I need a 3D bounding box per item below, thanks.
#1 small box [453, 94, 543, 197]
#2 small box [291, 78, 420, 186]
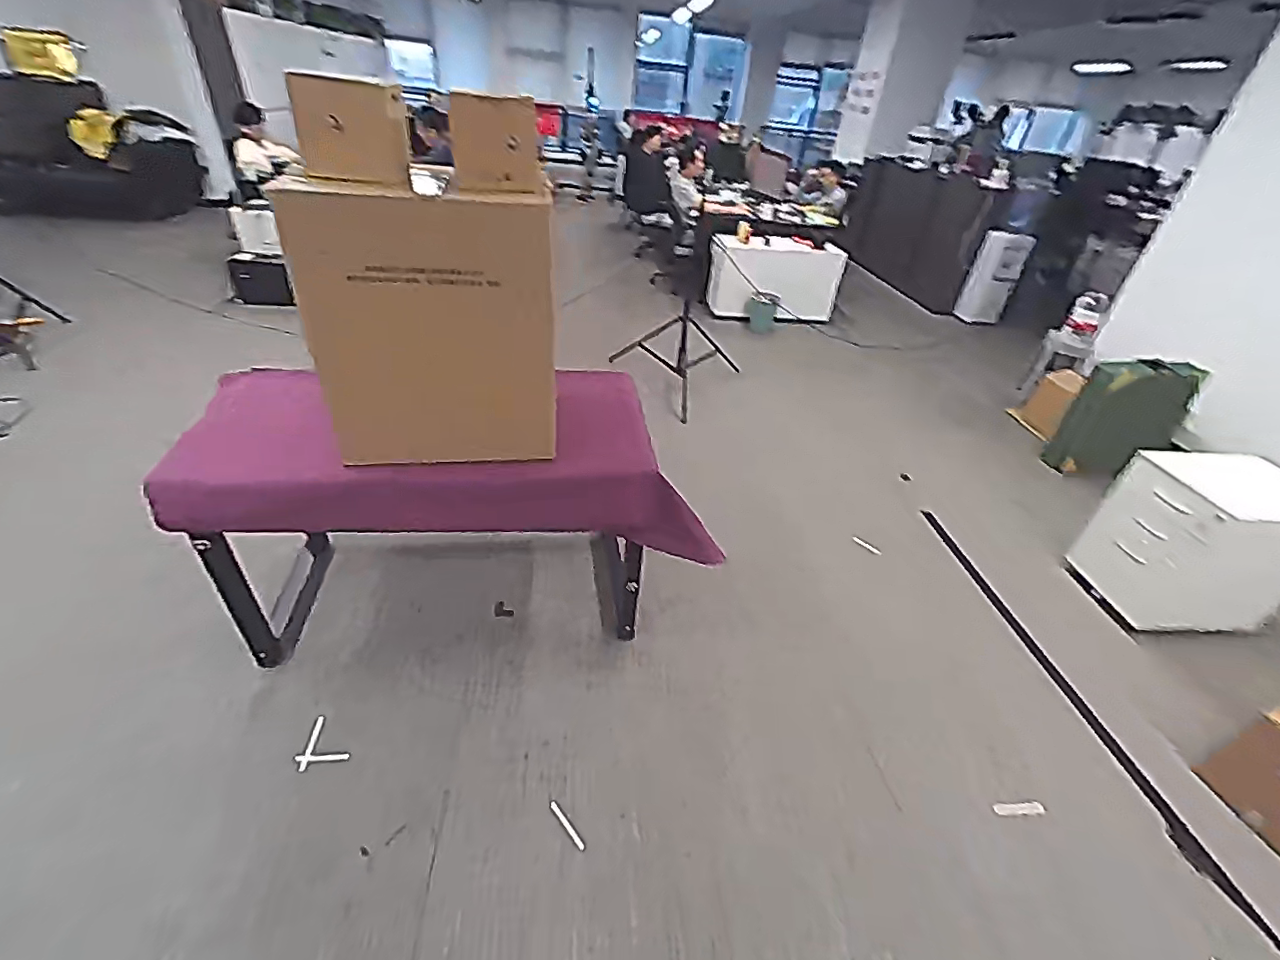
[{"bbox_3d":[-0.295,-0.710,1.149,0.168,0.176,0.179,-2,36,-12],"label":"small box"},{"bbox_3d":[-0.564,-0.704,1.099,0.179,0.176,0.168,0,37,-9],"label":"small box"}]
